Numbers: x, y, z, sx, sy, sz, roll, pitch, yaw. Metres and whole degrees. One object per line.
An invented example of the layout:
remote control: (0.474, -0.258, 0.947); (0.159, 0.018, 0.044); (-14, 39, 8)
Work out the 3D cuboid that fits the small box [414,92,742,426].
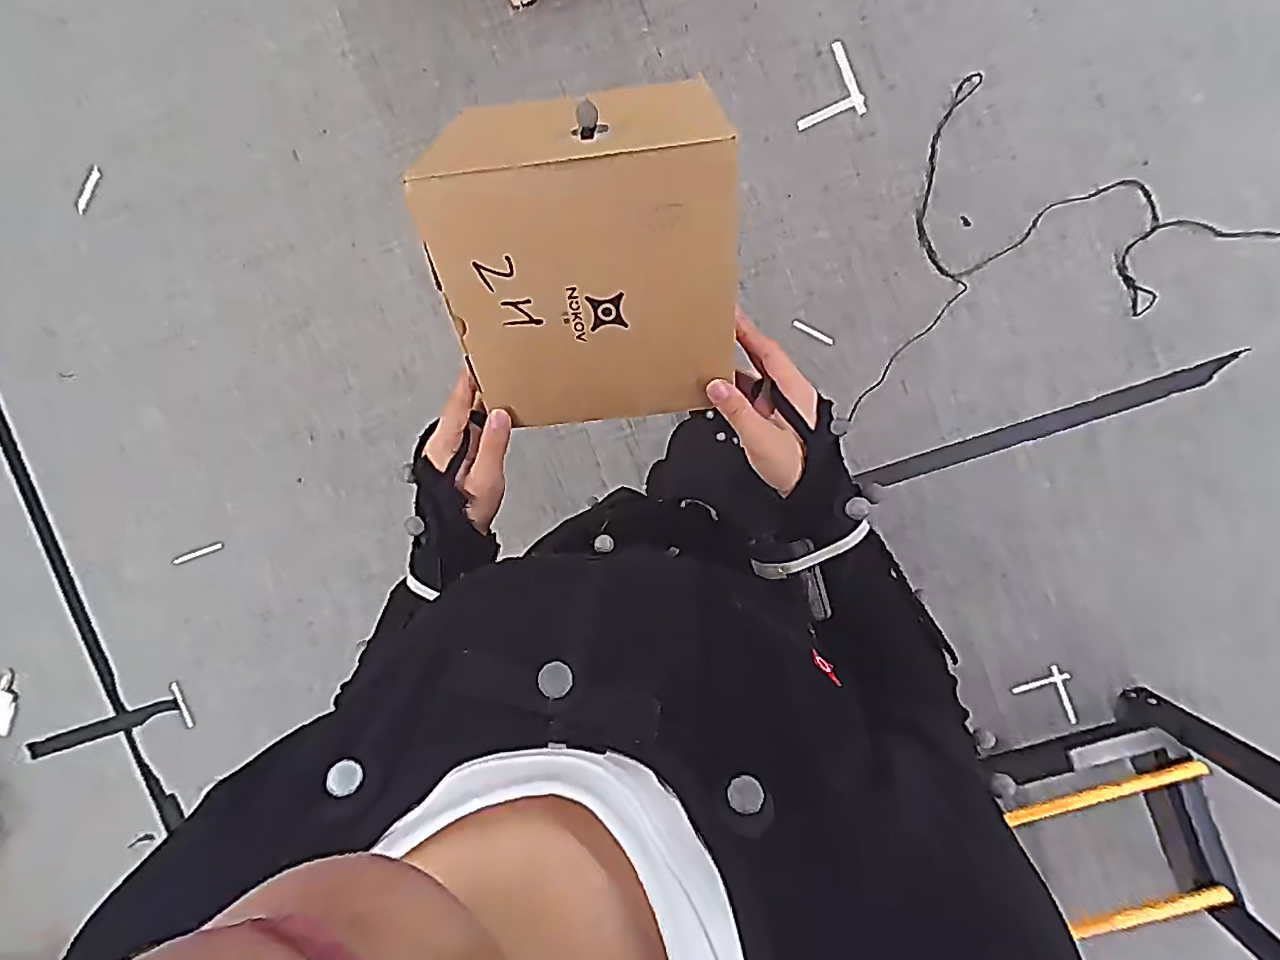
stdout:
small box: (-0.030, -0.161, 0.390); (0.179, 0.176, 0.168); (-5, 134, 3)
